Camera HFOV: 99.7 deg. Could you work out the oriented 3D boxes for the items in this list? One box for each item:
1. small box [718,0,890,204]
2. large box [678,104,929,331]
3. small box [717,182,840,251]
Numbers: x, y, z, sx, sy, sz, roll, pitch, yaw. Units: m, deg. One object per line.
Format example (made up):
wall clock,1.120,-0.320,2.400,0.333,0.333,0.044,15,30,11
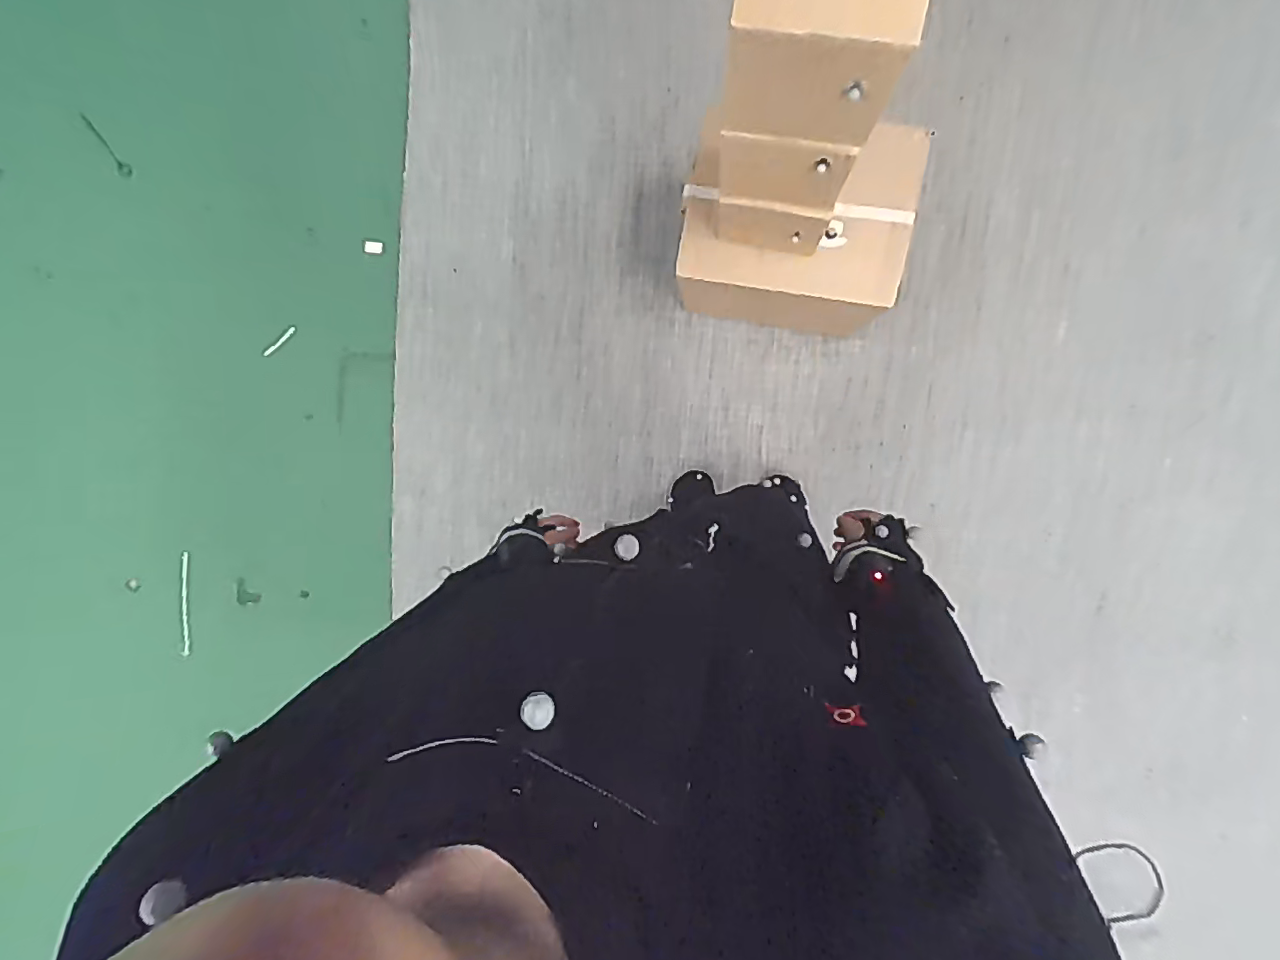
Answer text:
small box,0.204,-0.496,0.727,0.179,0.176,0.168,11,95,6
large box,0.302,-0.514,1.122,0.408,0.320,0.320,10,97,5
small box,0.229,-0.494,0.888,0.179,0.176,0.168,12,95,7
